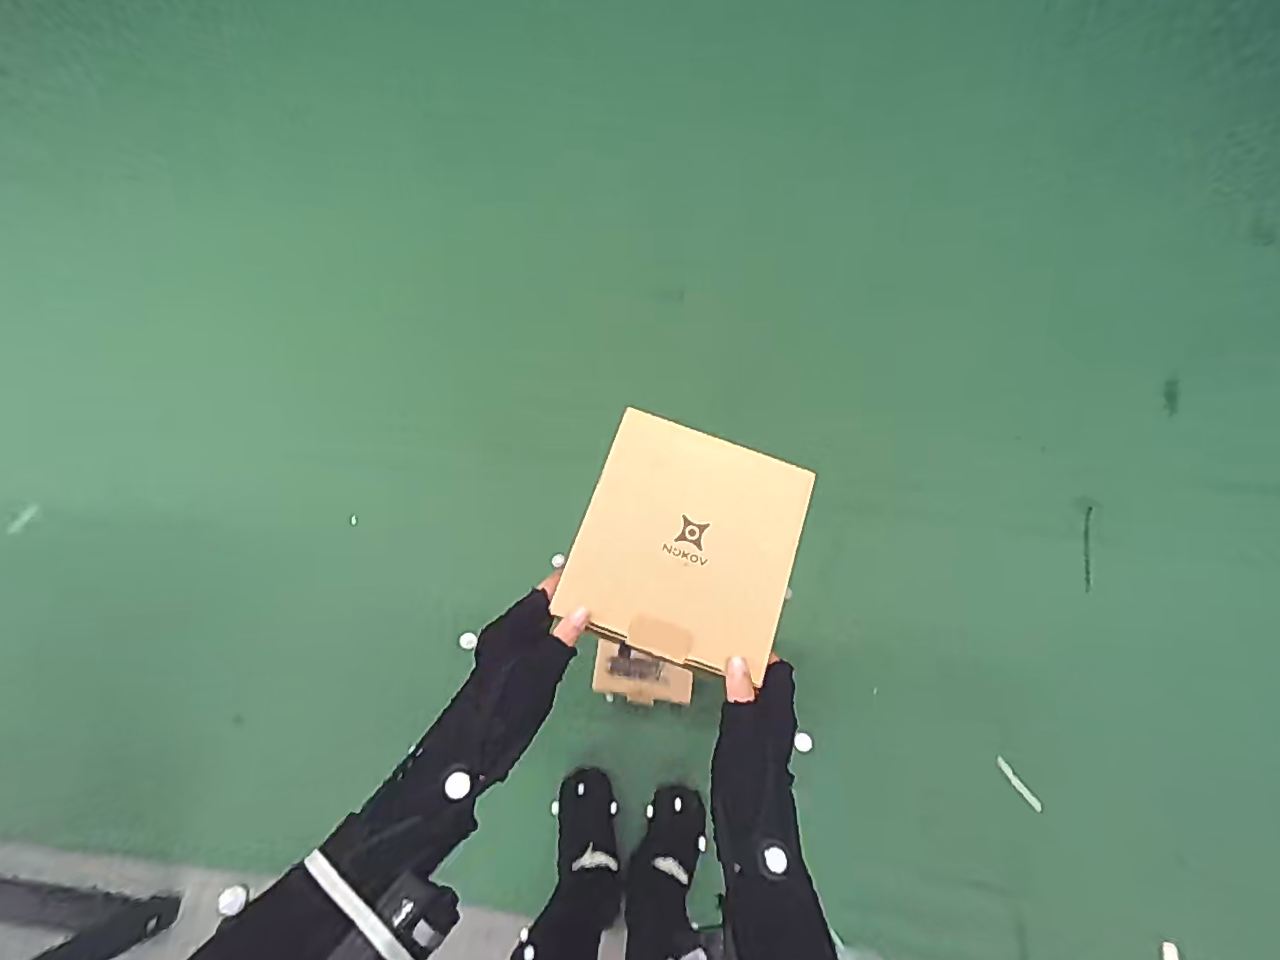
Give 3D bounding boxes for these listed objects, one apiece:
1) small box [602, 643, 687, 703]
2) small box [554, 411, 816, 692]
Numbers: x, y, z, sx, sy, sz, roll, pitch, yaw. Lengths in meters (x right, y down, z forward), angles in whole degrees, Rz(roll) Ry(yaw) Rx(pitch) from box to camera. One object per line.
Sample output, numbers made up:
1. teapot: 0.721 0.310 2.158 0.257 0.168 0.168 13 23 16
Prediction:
1. small box: 0.020 0.361 1.146 0.168 0.176 0.179 7 72 4
2. small box: 0.031 0.070 0.487 0.168 0.176 0.179 20 73 0
